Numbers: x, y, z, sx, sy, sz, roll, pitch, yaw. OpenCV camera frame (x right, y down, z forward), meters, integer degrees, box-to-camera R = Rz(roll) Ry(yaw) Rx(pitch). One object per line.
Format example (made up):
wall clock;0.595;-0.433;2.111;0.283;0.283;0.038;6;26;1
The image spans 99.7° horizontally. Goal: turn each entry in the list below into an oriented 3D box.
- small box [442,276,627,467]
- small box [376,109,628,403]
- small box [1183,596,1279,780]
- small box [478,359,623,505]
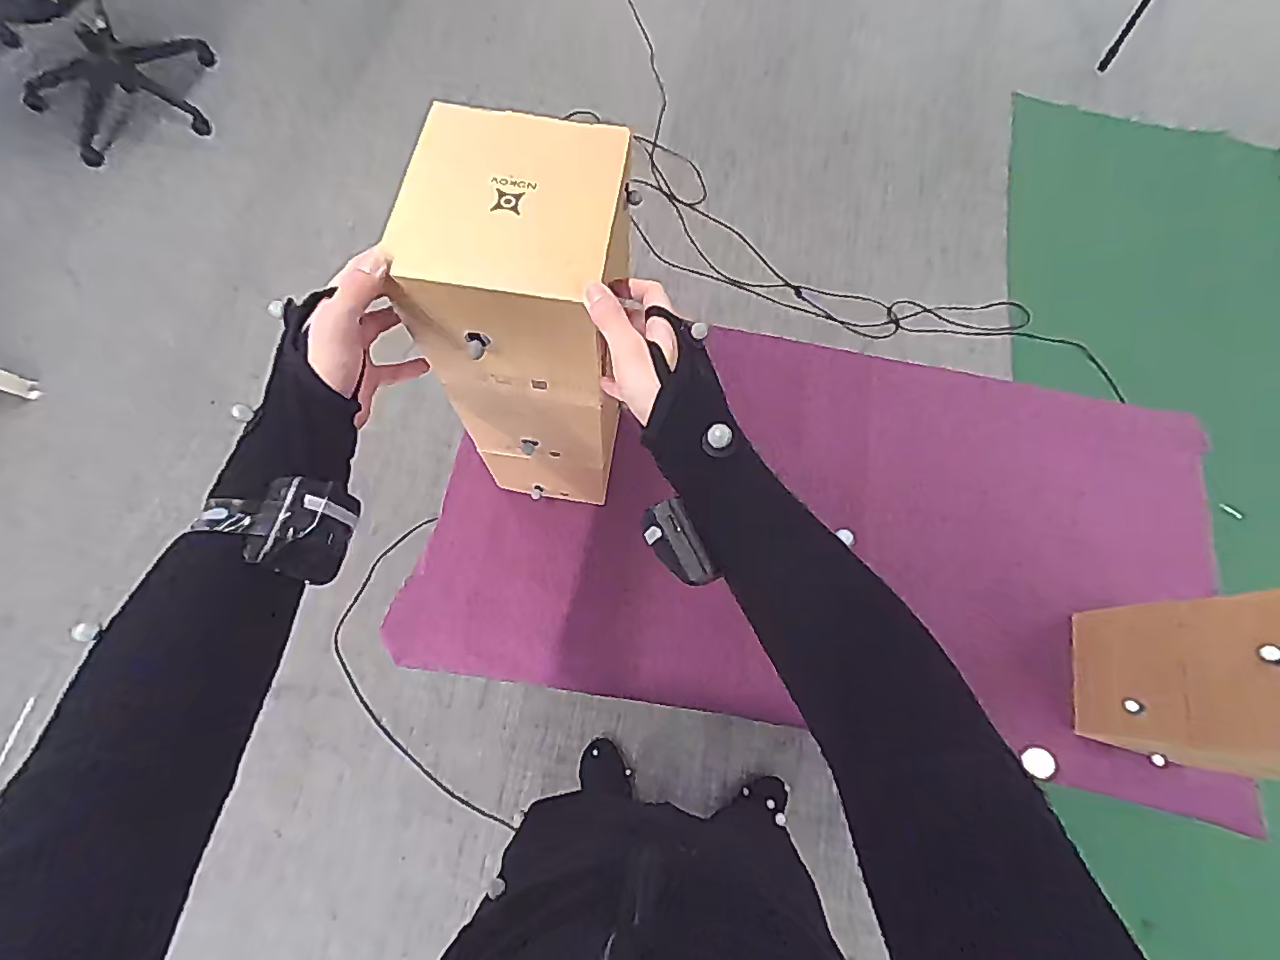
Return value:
small box;-0.111;-0.134;0.643;0.168;0.176;0.179;8;71;0
small box;-0.103;-0.187;0.491;0.168;0.176;0.179;8;70;0
small box;0.724;0.222;0.560;0.168;0.176;0.179;15;69;3
small box;-0.121;-0.078;0.796;0.168;0.176;0.179;9;71;0
